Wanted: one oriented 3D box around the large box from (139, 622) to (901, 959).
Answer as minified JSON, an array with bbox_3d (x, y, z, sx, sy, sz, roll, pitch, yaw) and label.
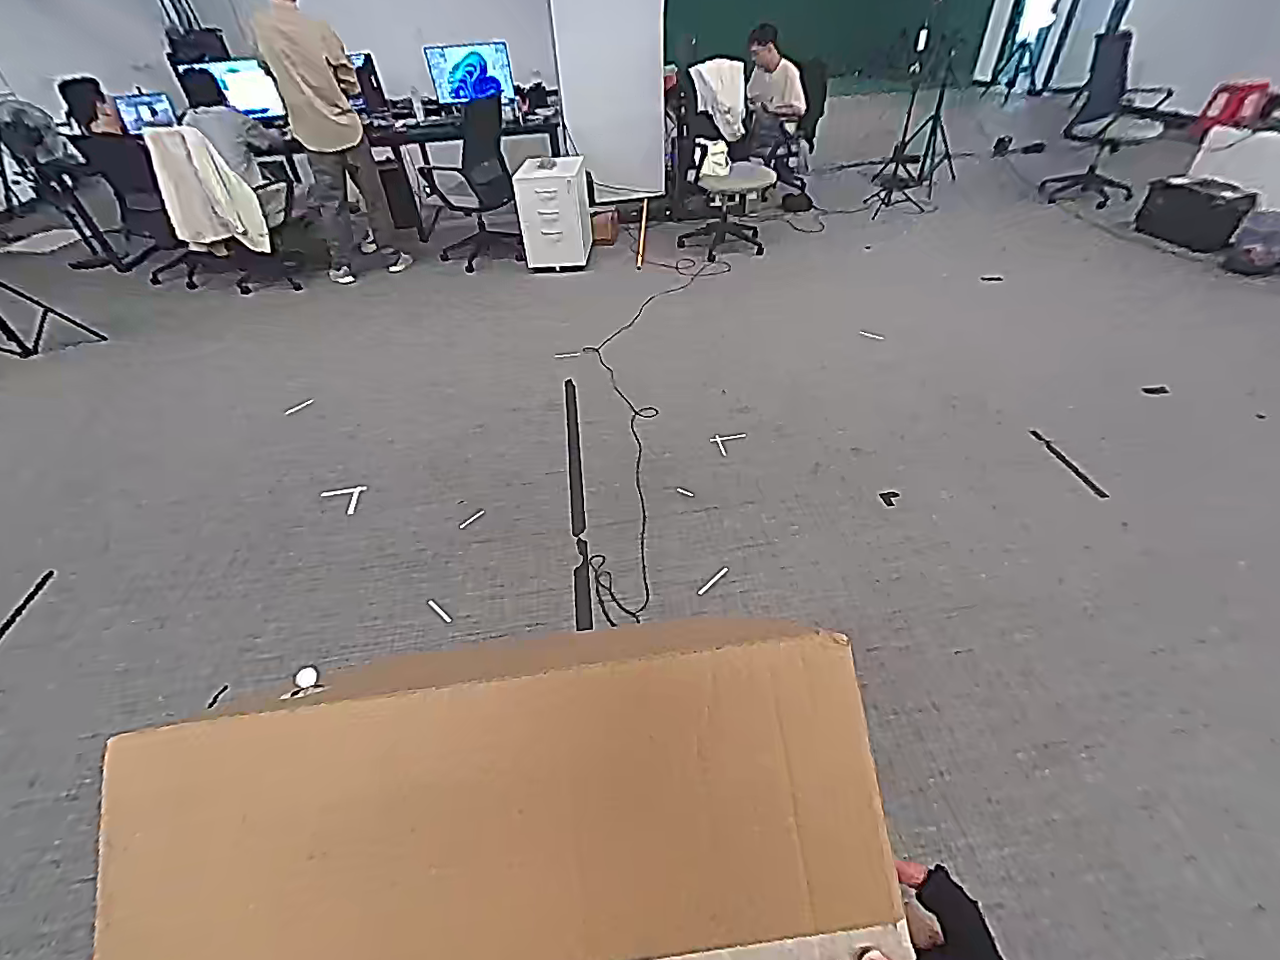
[{"bbox_3d":[-0.063,0.300,0.425,0.408,0.320,0.320,-7,79,-3],"label":"large box"}]
